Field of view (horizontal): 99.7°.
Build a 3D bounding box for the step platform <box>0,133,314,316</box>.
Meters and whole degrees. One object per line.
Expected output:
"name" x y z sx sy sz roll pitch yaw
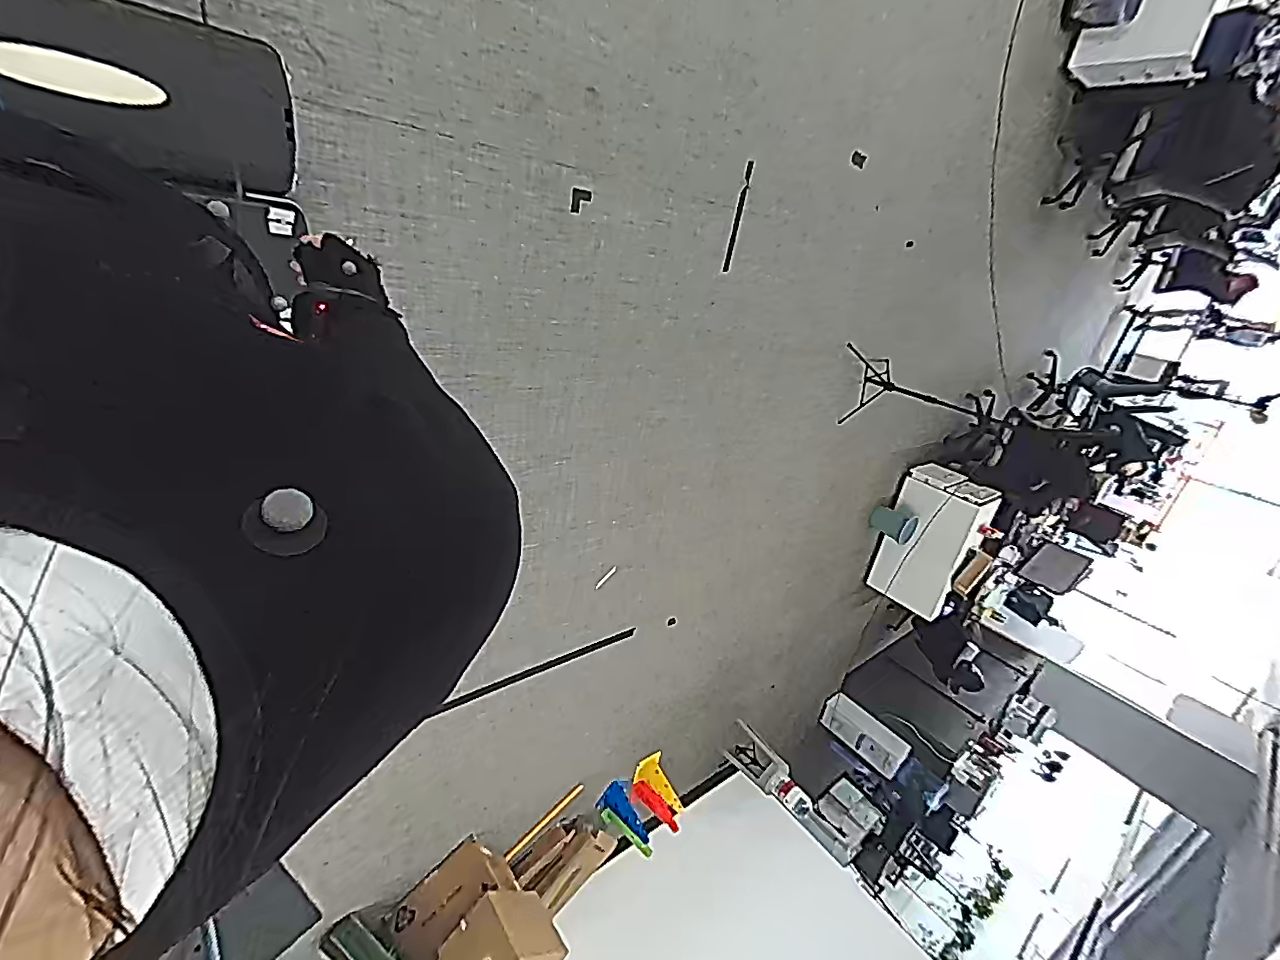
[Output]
"step platform" -1.029 -0.482 1.046 0.684 0.204 0.286 -10 120 -37
